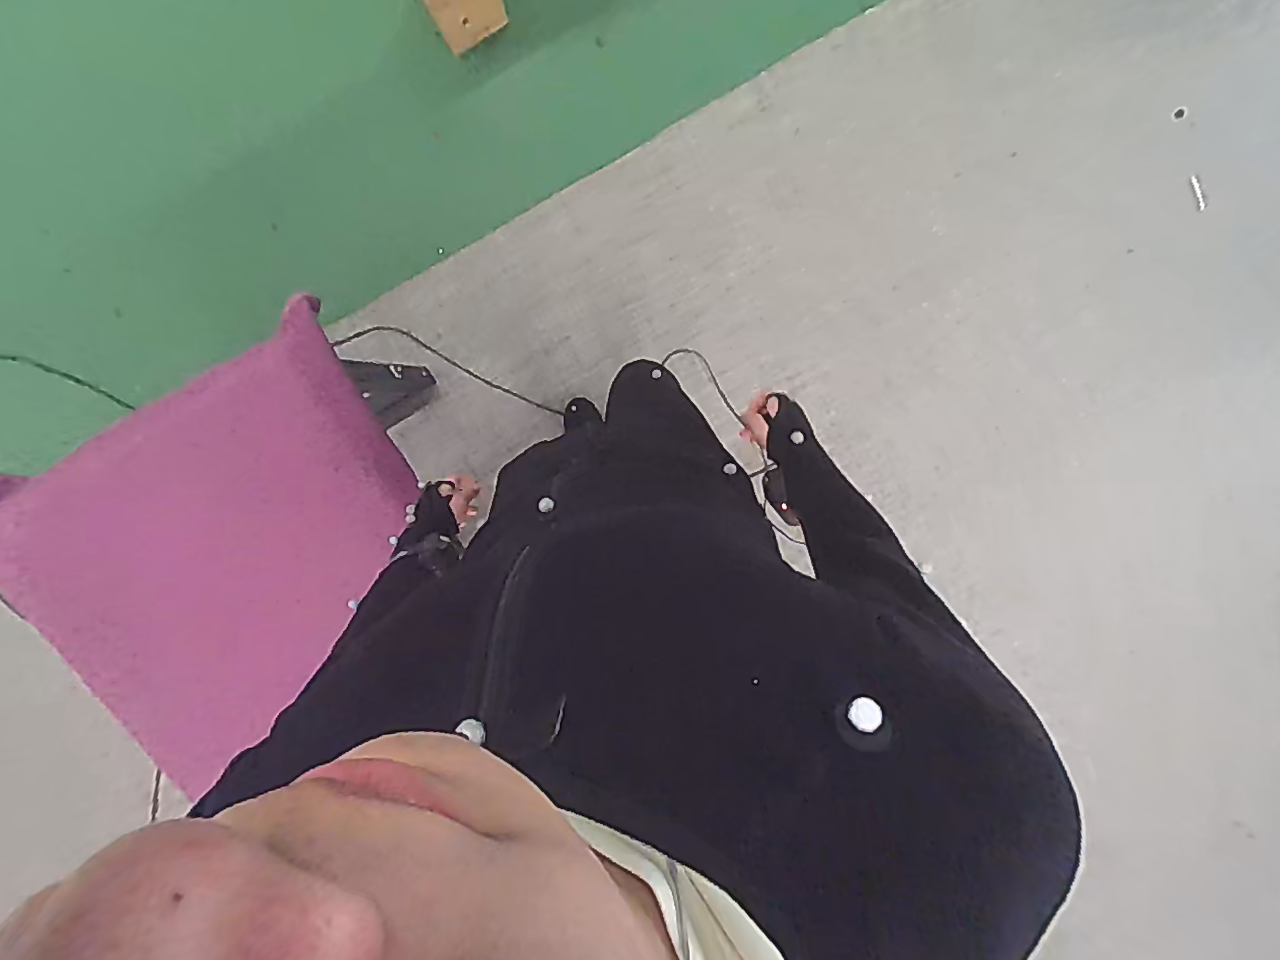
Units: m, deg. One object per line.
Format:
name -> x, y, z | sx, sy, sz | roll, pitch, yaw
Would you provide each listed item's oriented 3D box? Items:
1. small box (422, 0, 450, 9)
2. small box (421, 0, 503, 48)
small box -> -0.448, -1.170, 1.148 | 0.179, 0.176, 0.168 | -31, 100, 2
small box -> -0.457, -1.204, 1.309 | 0.168, 0.176, 0.179 | -31, 99, 3
